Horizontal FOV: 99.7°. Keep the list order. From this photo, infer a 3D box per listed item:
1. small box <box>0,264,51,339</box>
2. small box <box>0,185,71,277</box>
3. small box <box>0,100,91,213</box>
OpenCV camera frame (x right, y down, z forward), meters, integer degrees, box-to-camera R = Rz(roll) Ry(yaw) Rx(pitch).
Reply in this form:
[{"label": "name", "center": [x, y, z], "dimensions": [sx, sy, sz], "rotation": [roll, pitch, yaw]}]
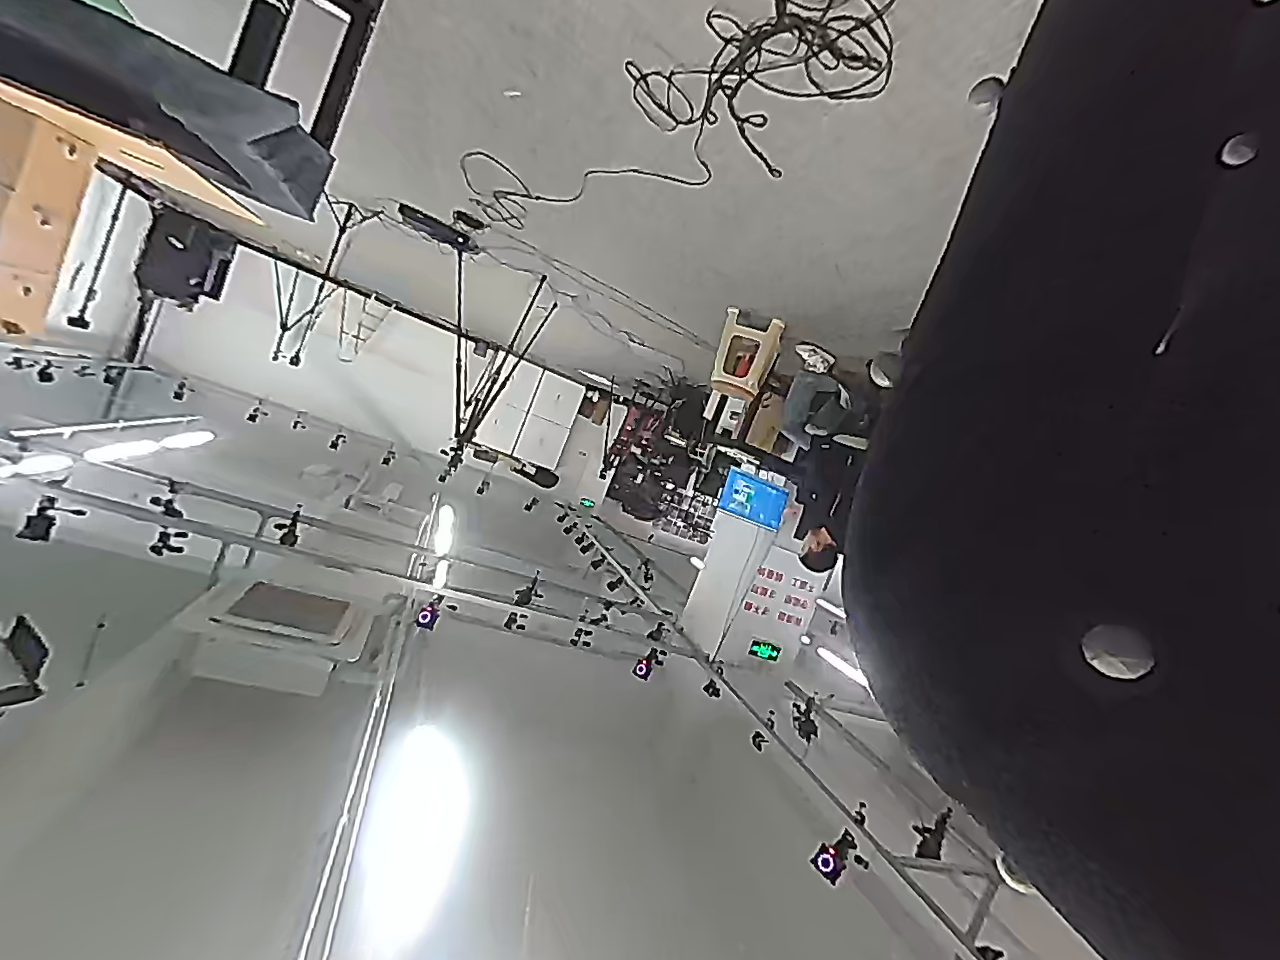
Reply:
[{"label": "small box", "center": [-1.535, -0.445, 1.243], "dimensions": [0.179, 0.176, 0.168], "rotation": [21, -175, -10]}, {"label": "small box", "center": [-1.469, -0.592, 1.225], "dimensions": [0.179, 0.176, 0.168], "rotation": [21, -175, -11]}, {"label": "small box", "center": [-1.404, -0.743, 1.210], "dimensions": [0.179, 0.176, 0.168], "rotation": [21, -175, -12]}]
